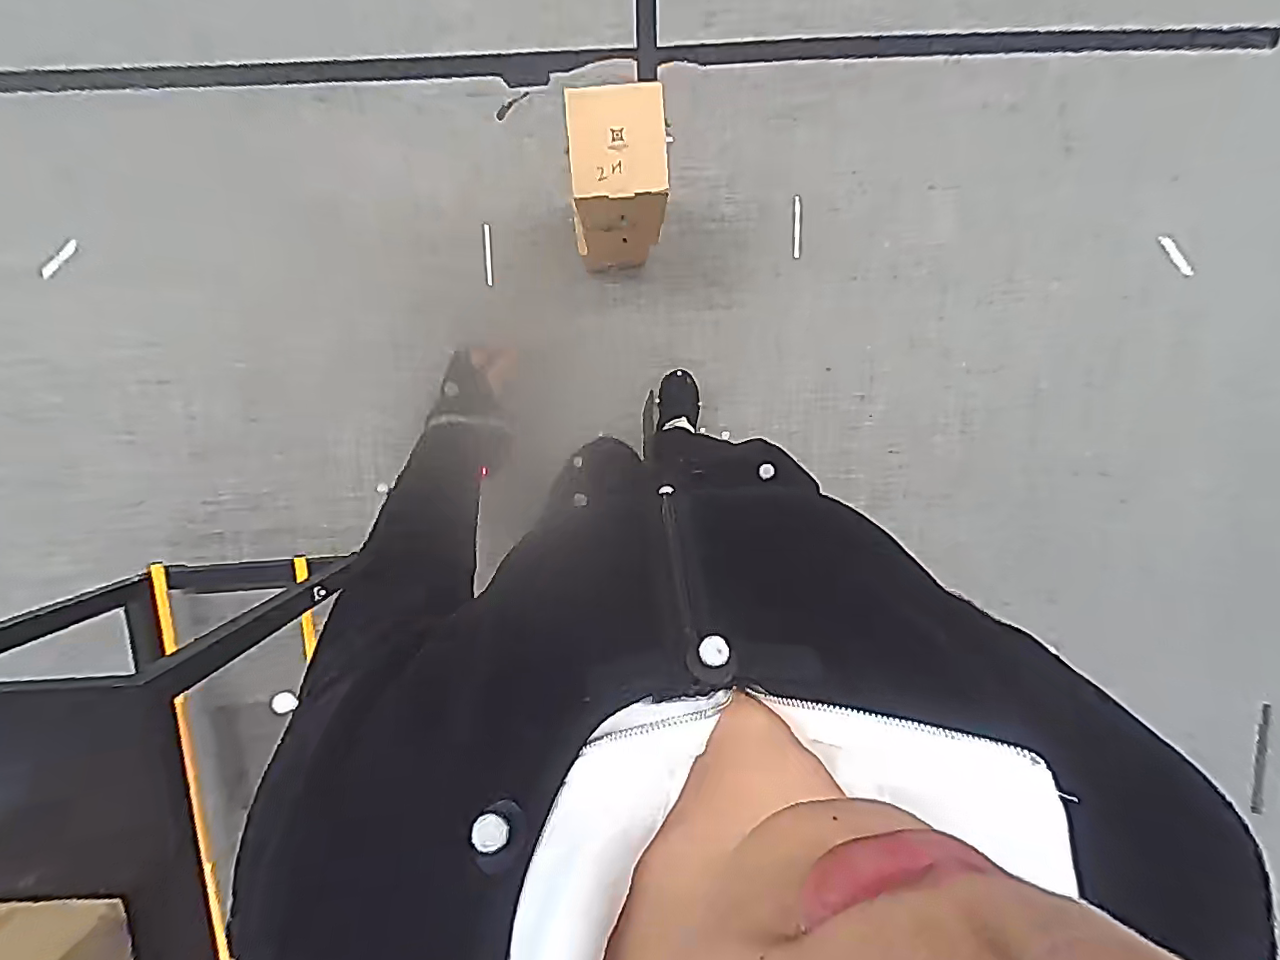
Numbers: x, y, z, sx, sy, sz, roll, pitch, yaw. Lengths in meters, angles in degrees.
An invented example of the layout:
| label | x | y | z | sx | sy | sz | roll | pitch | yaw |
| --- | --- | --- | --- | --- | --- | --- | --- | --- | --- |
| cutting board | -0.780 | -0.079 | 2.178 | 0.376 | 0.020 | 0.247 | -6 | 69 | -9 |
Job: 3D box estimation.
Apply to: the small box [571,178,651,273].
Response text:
| label | x | y | z | sx | sy | sz | roll | pitch | yaw |
| --- | --- | --- | --- | --- | --- | --- | --- | --- | --- |
| small box | -0.069 | -0.620 | 1.311 | 0.168 | 0.176 | 0.179 | -8 | 100 | 1 |

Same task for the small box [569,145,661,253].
| label | x | y | z | sx | sy | sz | roll | pitch | yaw |
| --- | --- | --- | --- | --- | --- | --- | --- | --- | --- |
| small box | -0.048 | -0.597 | 1.150 | 0.168 | 0.176 | 0.179 | -9 | 99 | 1 |

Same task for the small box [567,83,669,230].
| label | x | y | z | sx | sy | sz | roll | pitch | yaw |
| --- | --- | --- | --- | --- | --- | --- | --- | --- | --- |
| small box | -0.037 | -0.578 | 0.985 | 0.168 | 0.176 | 0.179 | -4 | 98 | 1 |
